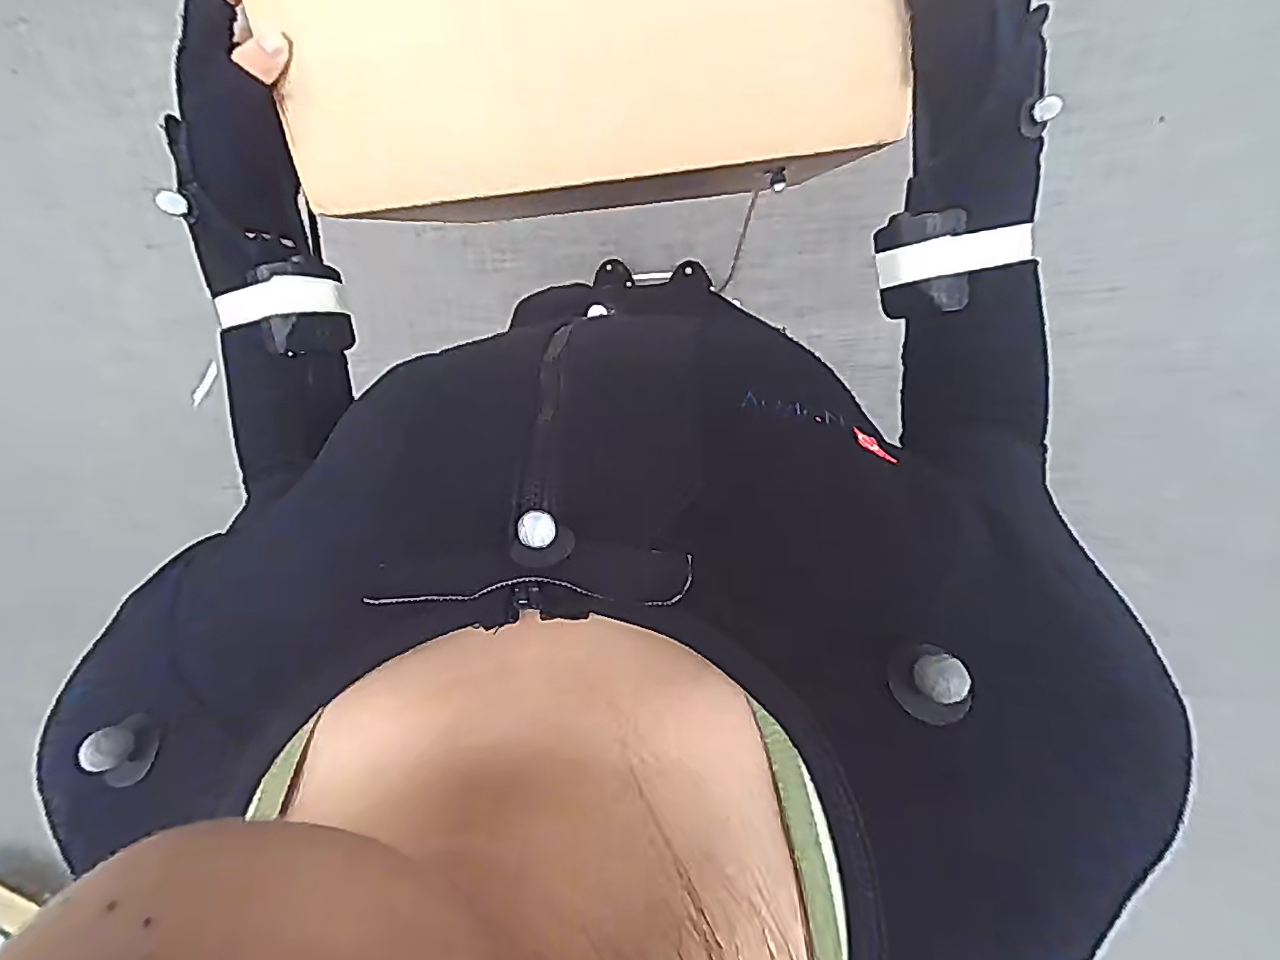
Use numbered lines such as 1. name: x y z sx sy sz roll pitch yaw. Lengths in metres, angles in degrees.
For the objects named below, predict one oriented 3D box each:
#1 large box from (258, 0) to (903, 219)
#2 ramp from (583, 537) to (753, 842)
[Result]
1. large box: -0.038 -0.408 0.446 0.408 0.320 0.320 -4 114 5
2. ramp: 0.091 0.664 1.667 0.509 0.206 0.991 -3 109 7
